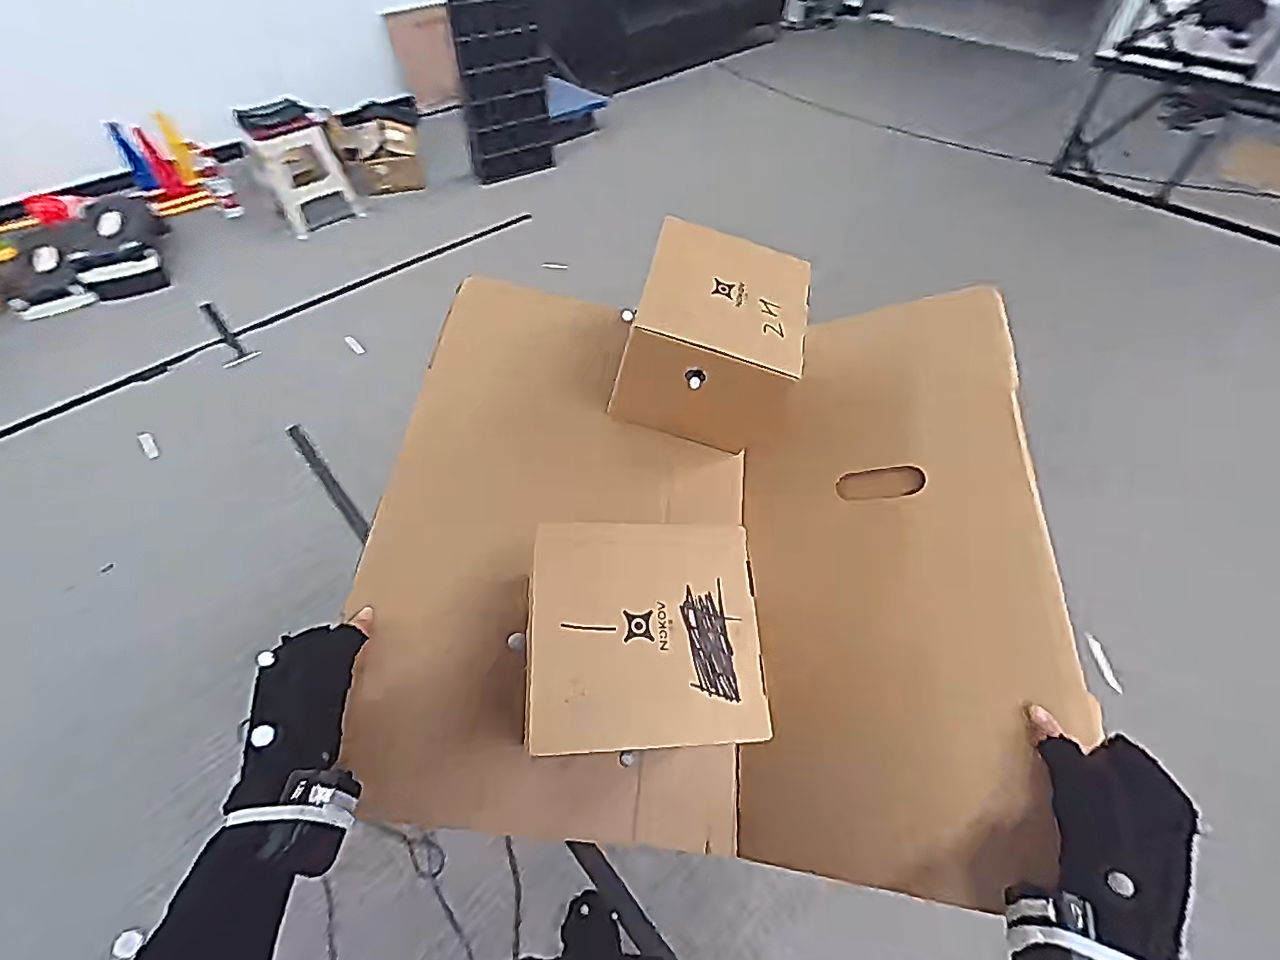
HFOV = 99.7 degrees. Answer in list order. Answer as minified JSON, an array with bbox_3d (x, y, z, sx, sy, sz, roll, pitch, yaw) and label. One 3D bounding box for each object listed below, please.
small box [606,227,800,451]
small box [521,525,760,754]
[{"bbox_3d":[0.067,-0.155,0.644,0.179,0.176,0.168,17,63,-6],"label":"small box"},{"bbox_3d":[-0.015,0.146,0.488,0.179,0.176,0.168,2,66,-12],"label":"small box"}]
